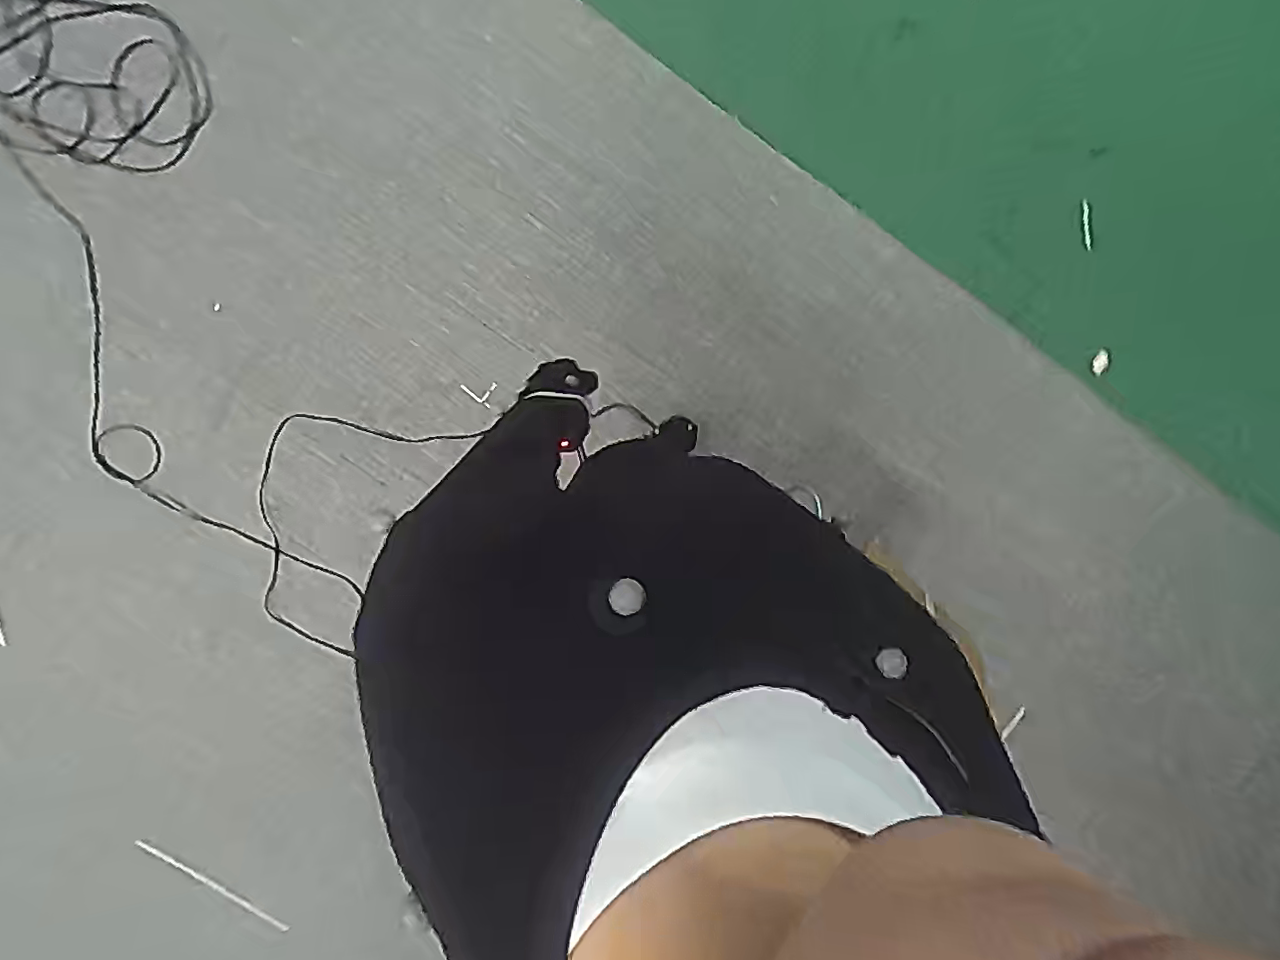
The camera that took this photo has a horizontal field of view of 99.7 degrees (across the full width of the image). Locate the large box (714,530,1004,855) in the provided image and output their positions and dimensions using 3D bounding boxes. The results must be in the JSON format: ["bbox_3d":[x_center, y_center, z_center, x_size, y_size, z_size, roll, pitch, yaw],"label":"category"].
[{"bbox_3d":[0.389,0.370,0.997,0.320,0.408,0.320,46,123,1],"label":"large box"}]
